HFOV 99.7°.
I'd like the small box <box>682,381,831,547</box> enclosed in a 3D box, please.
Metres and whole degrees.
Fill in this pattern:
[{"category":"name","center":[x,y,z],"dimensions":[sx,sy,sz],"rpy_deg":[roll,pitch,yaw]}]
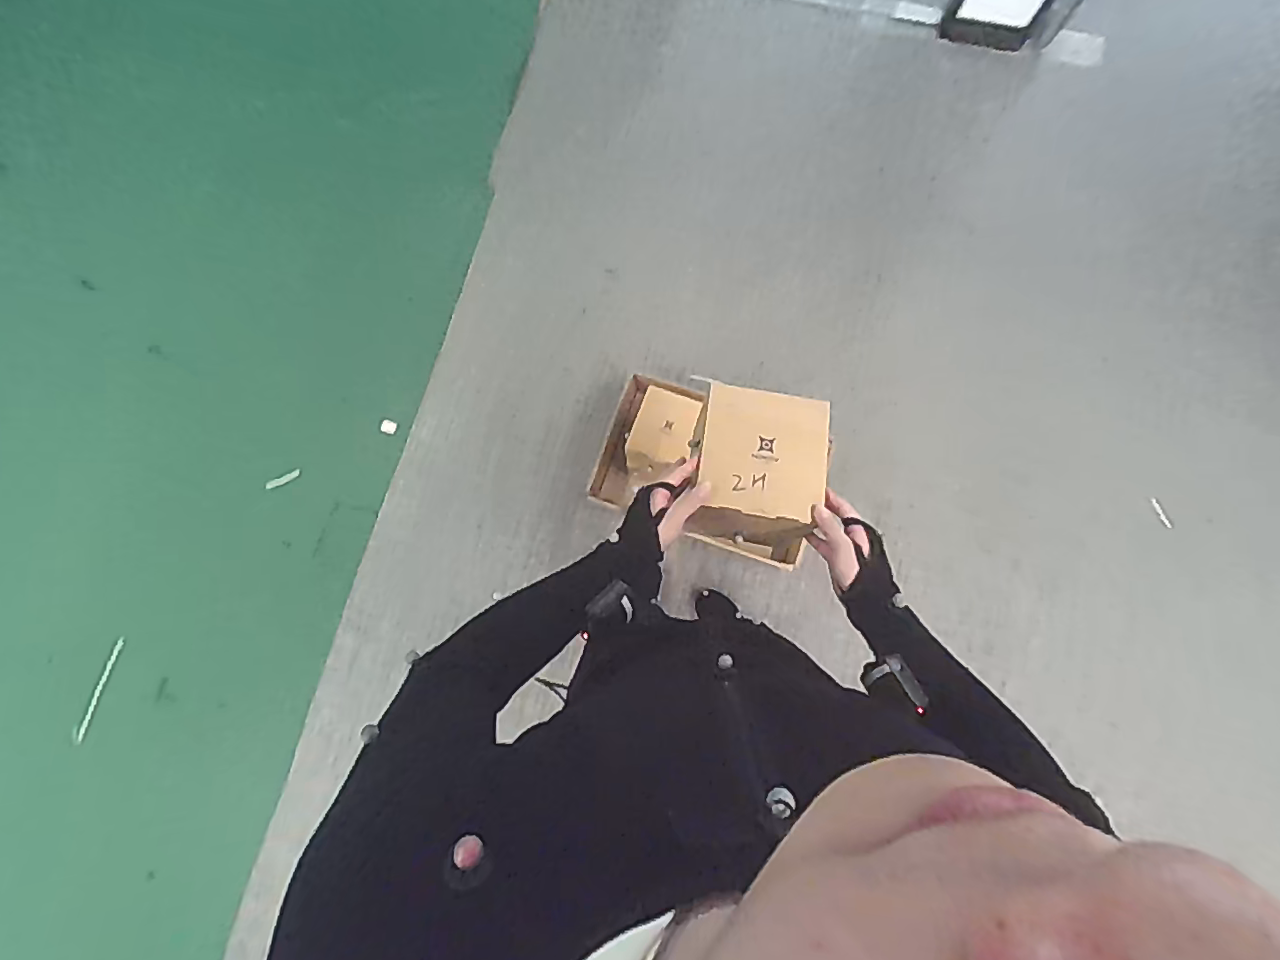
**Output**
[{"category":"small box","center":[0.158,-0.015,0.769],"dimensions":[0.168,0.176,0.179],"rpy_deg":[9,72,0]}]

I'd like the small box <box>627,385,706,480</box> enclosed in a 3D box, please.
[{"category":"small box","center":[0.070,-0.116,1.393],"dimensions":[0.168,0.176,0.179],"rpy_deg":[20,81,4]}]
